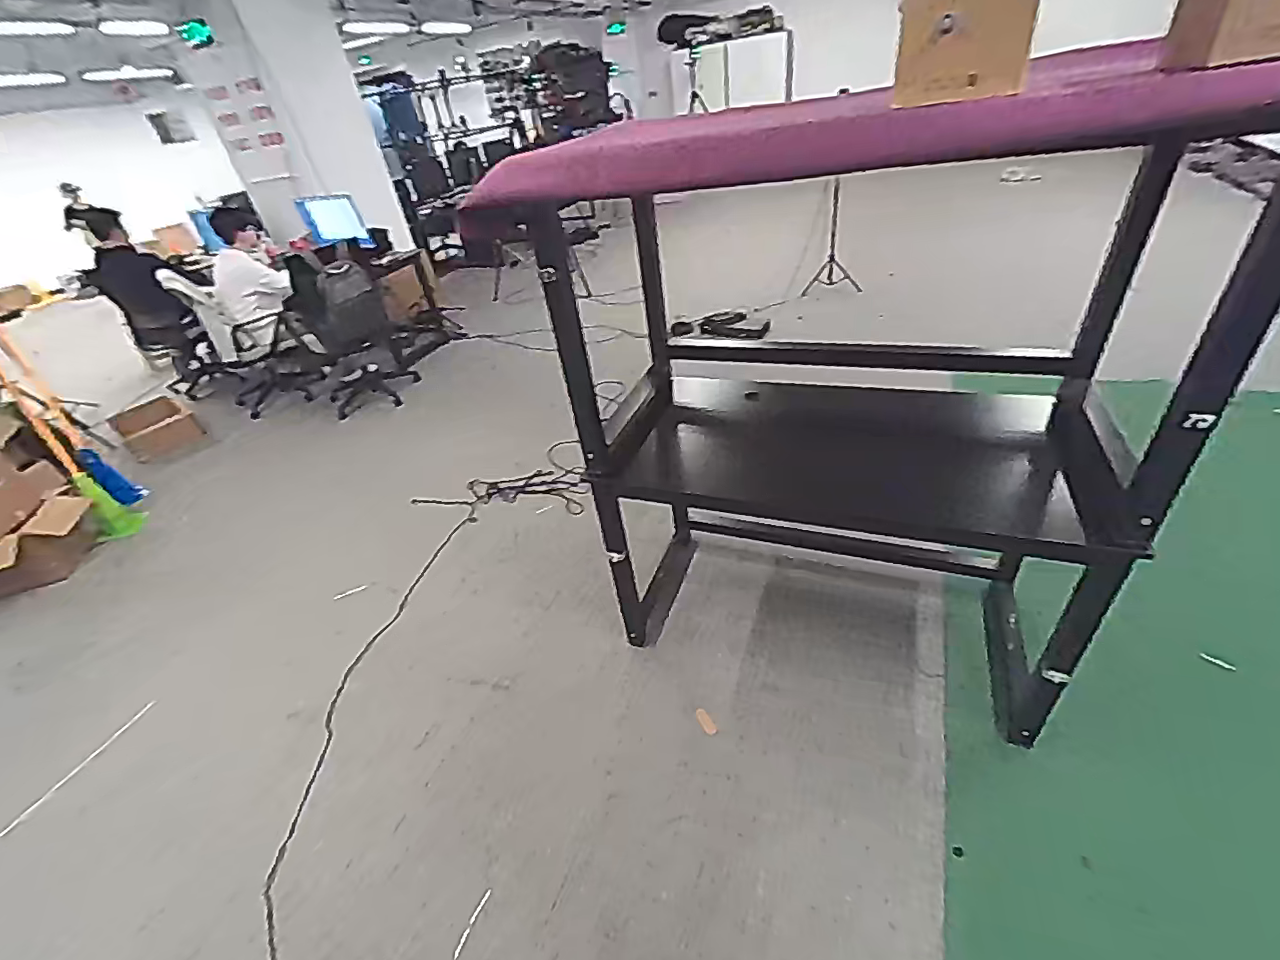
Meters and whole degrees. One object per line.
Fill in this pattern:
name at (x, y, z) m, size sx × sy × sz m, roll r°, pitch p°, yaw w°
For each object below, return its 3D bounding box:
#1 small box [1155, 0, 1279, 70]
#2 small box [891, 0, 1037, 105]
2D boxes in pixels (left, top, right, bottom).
small box at (0.788, -0.620, 0.660) m, size 0.168 × 0.176 × 0.179 m, roll 7°, pitch 36°, yaw 21°
small box at (0.471, -0.656, 0.784) m, size 0.168 × 0.176 × 0.179 m, roll 12°, pitch 39°, yaw 26°
